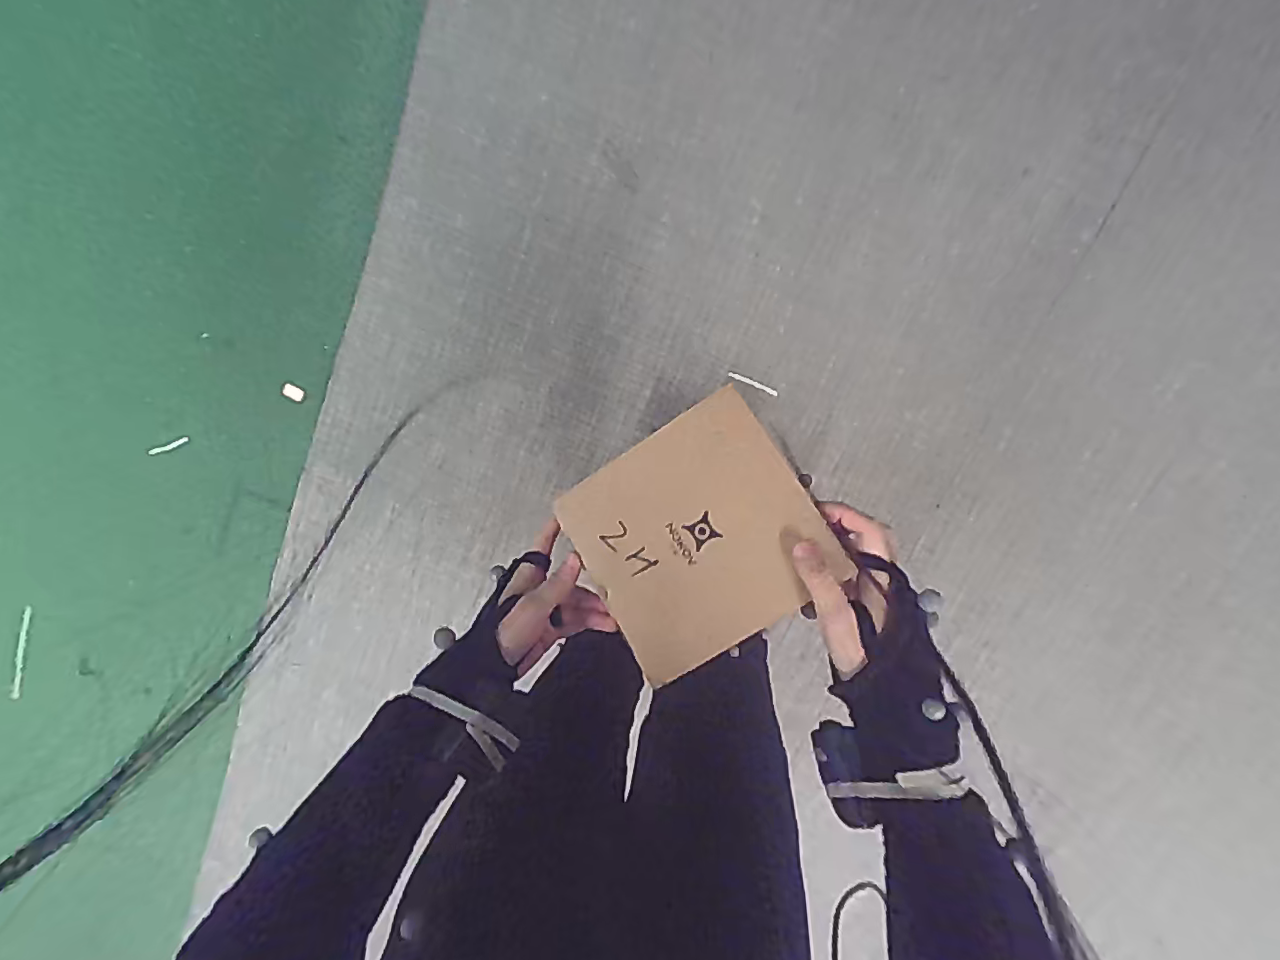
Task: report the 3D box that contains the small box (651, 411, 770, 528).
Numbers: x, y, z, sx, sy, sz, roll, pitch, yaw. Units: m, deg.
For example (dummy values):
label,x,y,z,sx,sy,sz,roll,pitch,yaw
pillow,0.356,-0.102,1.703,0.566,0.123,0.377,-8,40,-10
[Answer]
label,x,y,z,sx,sy,sz,roll,pitch,yaw
small box,0.139,-0.031,1.071,0.179,0.176,0.168,21,104,3
